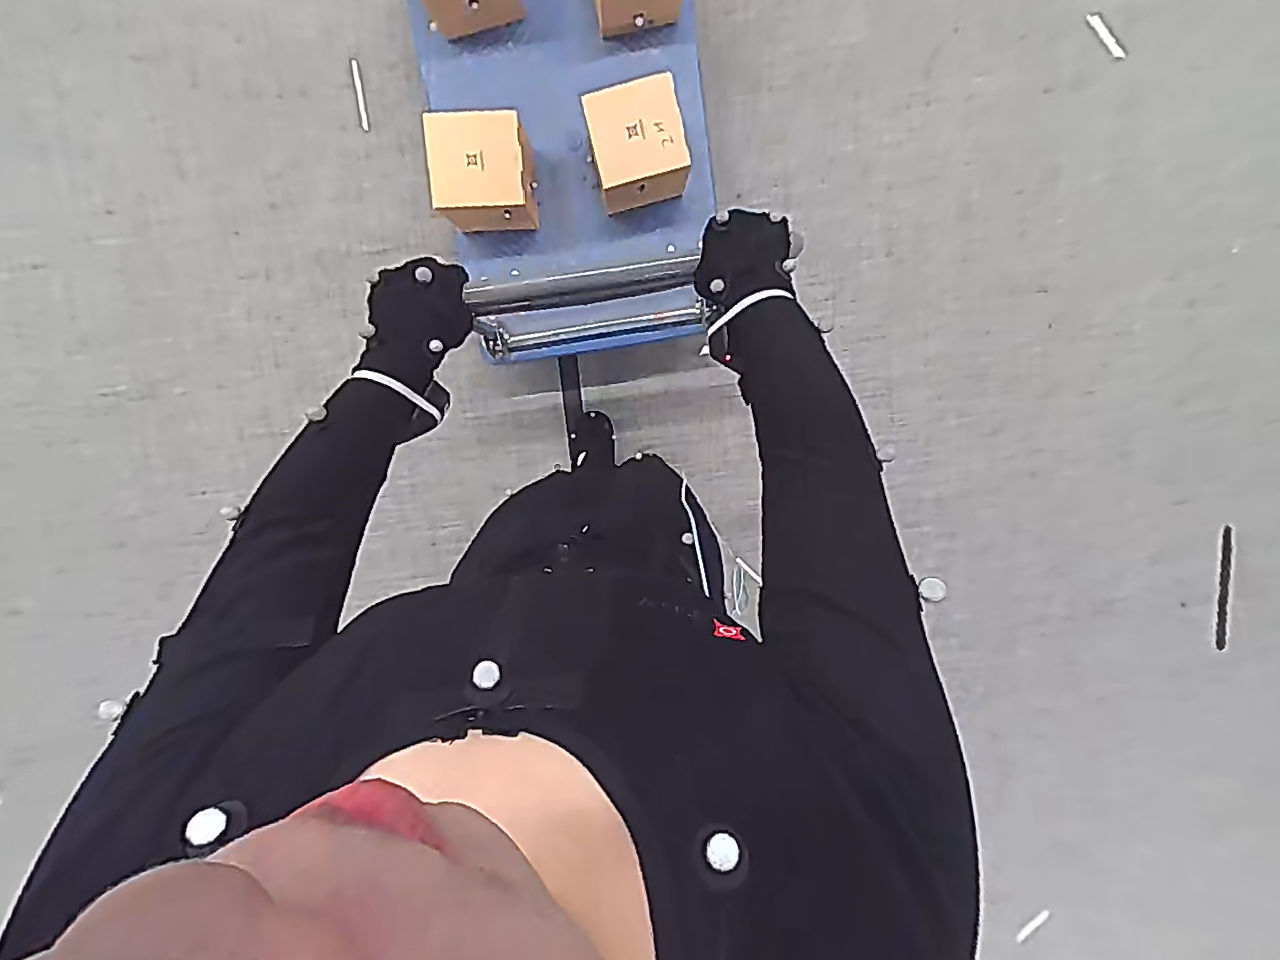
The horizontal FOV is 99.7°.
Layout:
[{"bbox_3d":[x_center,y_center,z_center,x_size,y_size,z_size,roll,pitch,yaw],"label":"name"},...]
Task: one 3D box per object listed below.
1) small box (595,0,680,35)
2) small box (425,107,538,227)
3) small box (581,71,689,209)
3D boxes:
[{"bbox_3d":[-0.014,-1.004,1.025,0.168,0.176,0.179,-12,102,1],"label":"small box"},{"bbox_3d":[-0.311,-0.621,1.092,0.179,0.176,0.168,-3,101,-2],"label":"small box"},{"bbox_3d":[-0.009,-0.671,1.089,0.179,0.176,0.168,-14,101,2],"label":"small box"}]
